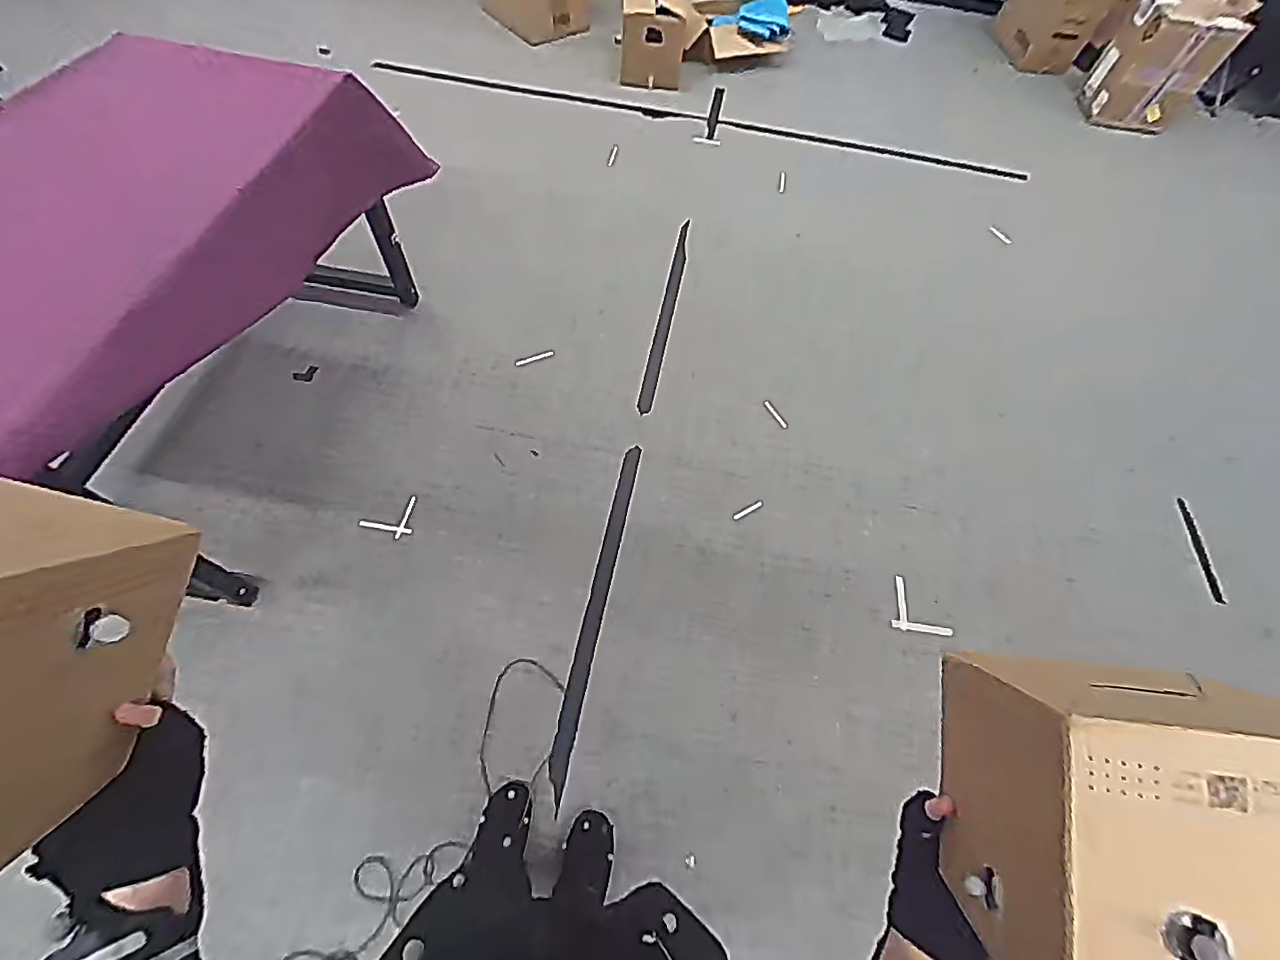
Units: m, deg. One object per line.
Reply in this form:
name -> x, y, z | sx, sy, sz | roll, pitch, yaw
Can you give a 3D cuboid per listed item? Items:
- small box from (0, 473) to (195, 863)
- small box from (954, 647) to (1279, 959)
small box -> -0.361, 0.083, 0.247 | 0.168, 0.179, 0.176 | 18, 87, -13
small box -> 0.293, 0.196, 0.302 | 0.168, 0.179, 0.176 | 4, 83, 13
